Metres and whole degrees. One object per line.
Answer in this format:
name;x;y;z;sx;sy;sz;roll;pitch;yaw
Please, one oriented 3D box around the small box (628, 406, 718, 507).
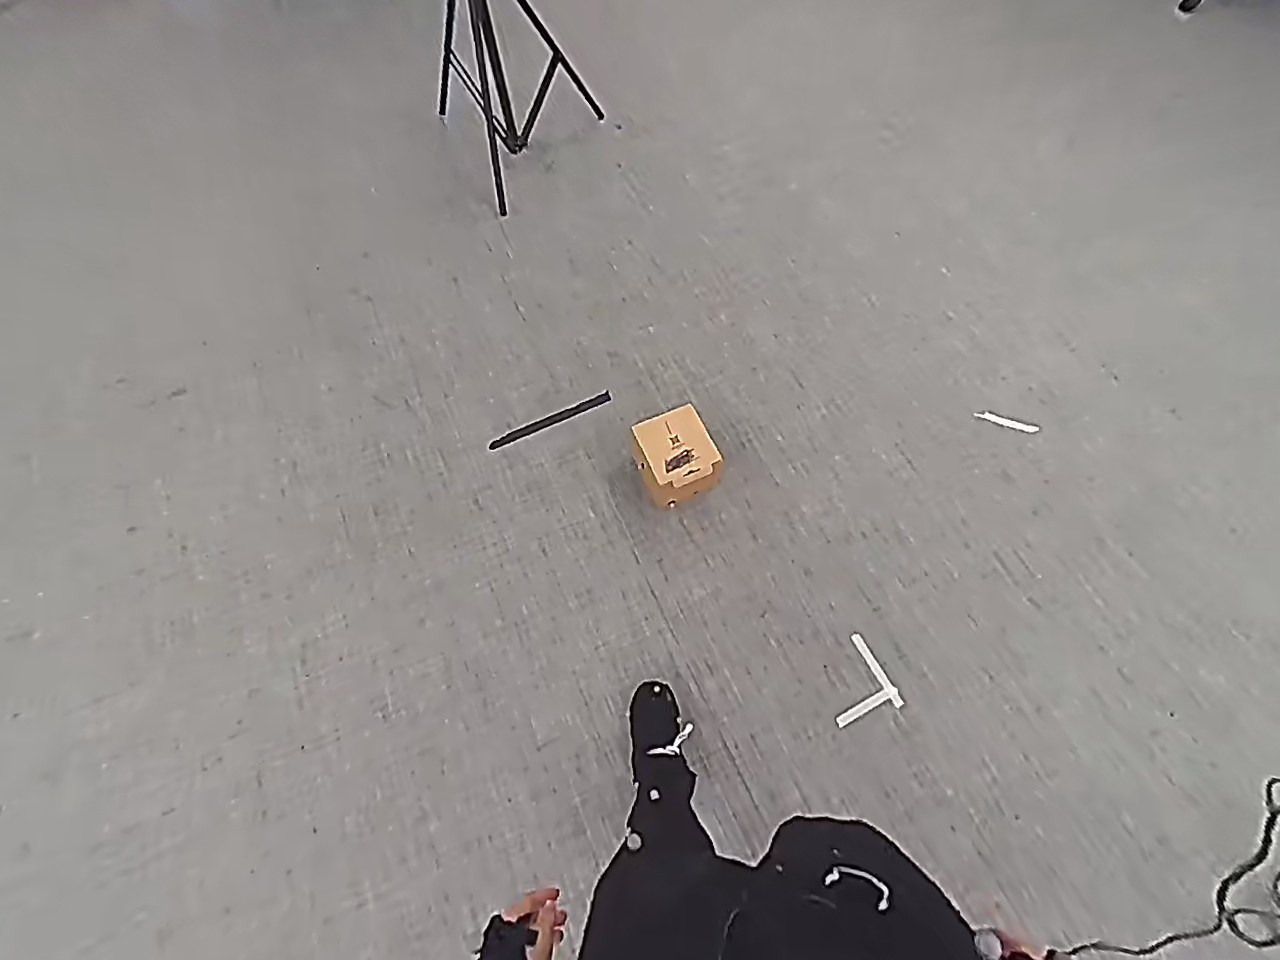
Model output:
small box;0.080;-0.049;1.357;0.168;0.176;0.179;-22;67;-9
